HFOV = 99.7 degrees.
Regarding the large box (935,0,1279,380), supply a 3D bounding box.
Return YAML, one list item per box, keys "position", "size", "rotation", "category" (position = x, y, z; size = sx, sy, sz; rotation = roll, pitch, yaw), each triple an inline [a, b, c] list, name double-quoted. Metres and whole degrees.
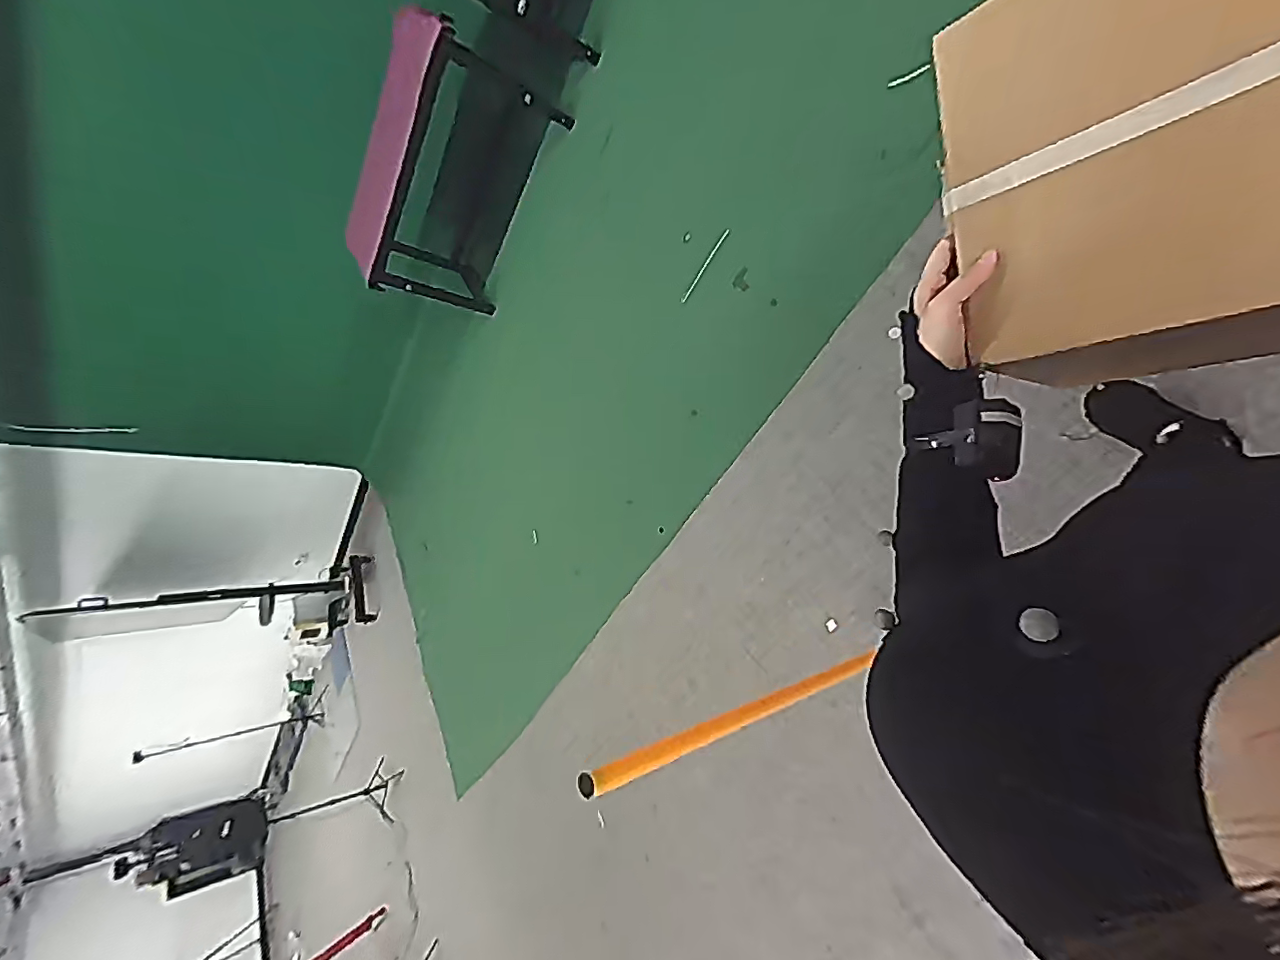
- position: [0.531, -0.292, 0.454]
  size: [0.408, 0.320, 0.320]
  rotation: [-9, 87, 47]
  category: "large box"
